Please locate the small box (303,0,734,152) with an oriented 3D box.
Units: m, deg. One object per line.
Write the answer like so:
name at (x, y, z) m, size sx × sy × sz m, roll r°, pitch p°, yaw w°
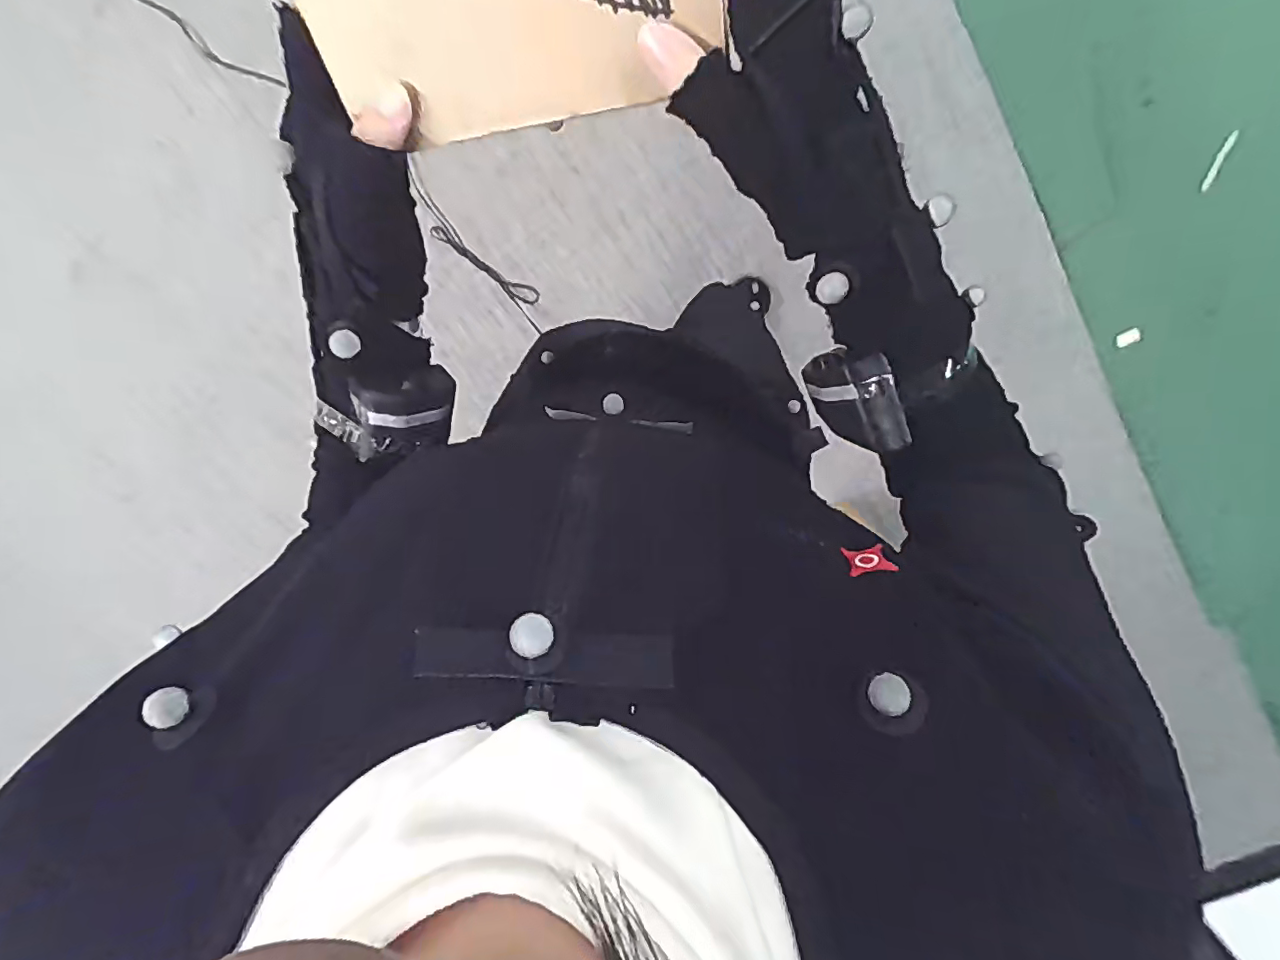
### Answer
small box at (-0.056, -0.280, 0.250) m, size 0.179 × 0.176 × 0.168 m, roll -6°, pitch 134°, yaw 9°
